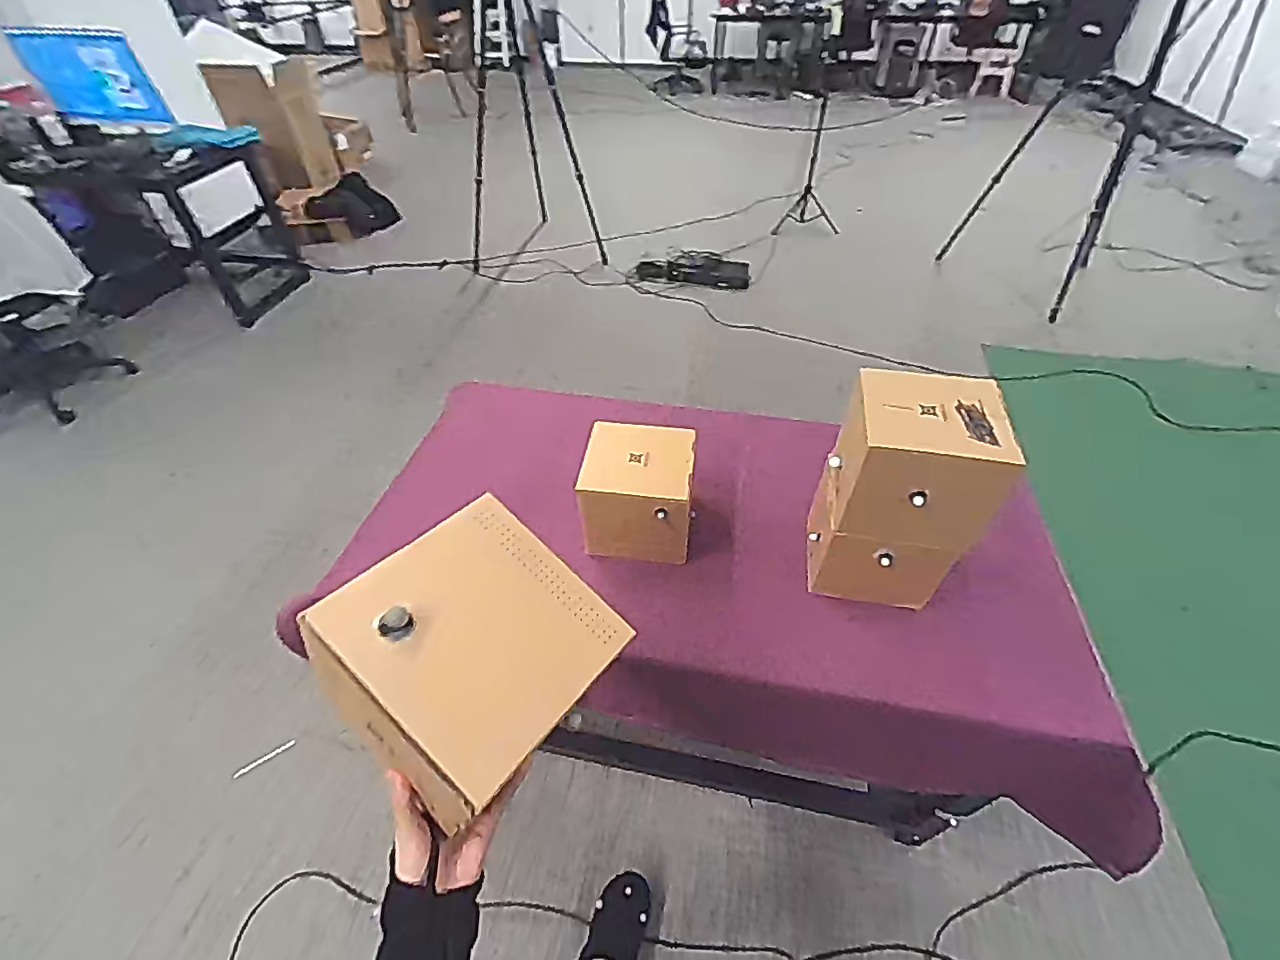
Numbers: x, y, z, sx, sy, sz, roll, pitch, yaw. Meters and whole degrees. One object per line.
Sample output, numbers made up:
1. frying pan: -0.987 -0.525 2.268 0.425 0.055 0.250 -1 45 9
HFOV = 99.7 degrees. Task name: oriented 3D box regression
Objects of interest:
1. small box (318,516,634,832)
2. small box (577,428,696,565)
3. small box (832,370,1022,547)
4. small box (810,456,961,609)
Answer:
1. small box: -0.138 0.154 0.464 0.179 0.168 0.176 42 49 11
2. small box: 0.000 0.030 0.930 0.179 0.176 0.168 5 46 5
3. small box: 0.374 -0.027 0.742 0.179 0.176 0.168 7 47 10
4. small box: 0.373 0.086 0.862 0.179 0.176 0.168 8 47 9
